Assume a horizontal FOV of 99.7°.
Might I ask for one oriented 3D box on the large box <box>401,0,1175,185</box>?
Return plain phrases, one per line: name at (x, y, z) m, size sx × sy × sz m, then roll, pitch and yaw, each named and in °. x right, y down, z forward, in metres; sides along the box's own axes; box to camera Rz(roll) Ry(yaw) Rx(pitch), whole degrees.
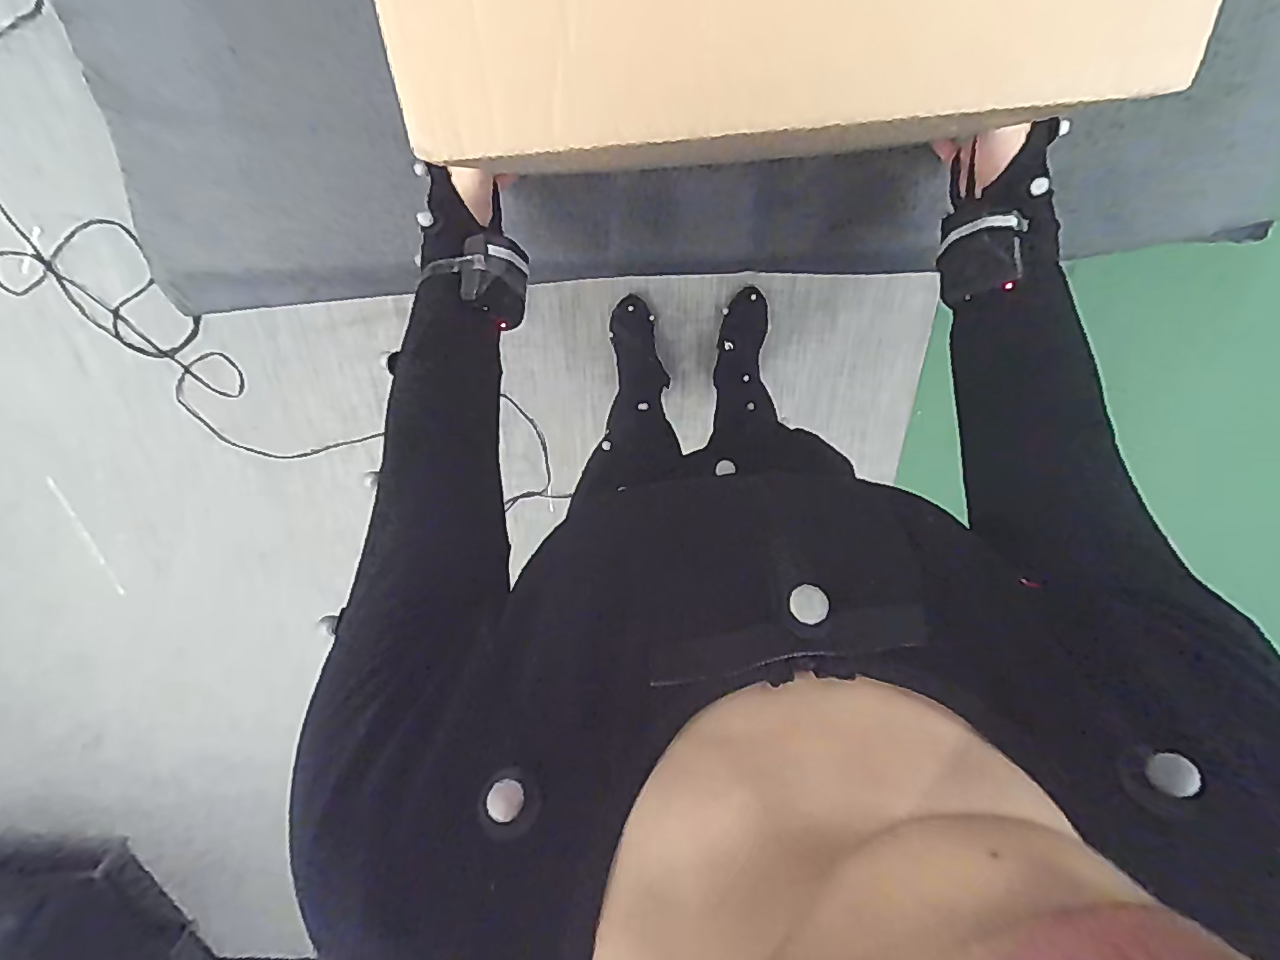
large box at (0.067, -0.400, 0.368) m, size 0.408 × 0.320 × 0.320 m, roll -4°, pitch 118°, yaw 4°
